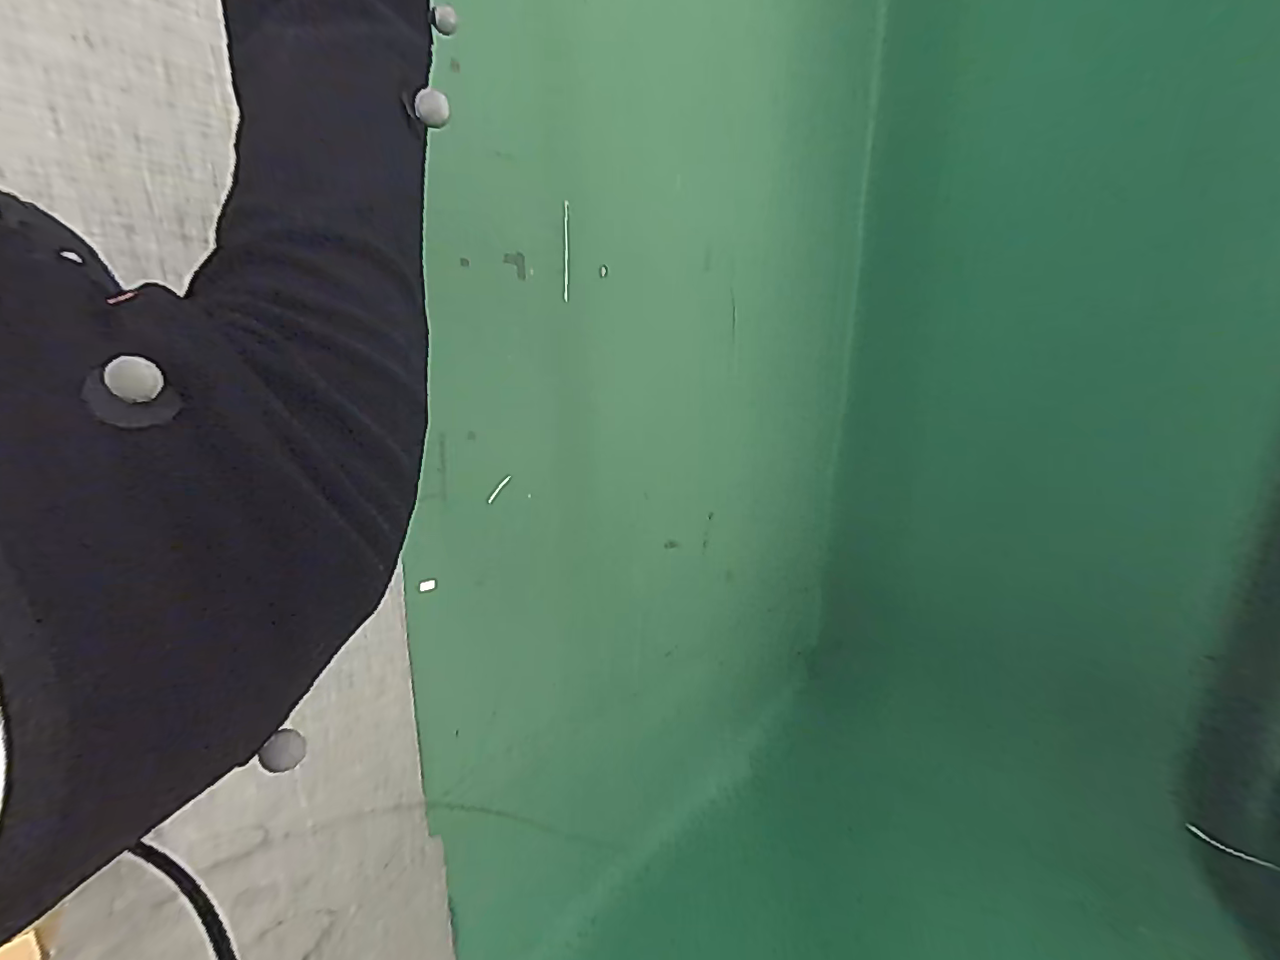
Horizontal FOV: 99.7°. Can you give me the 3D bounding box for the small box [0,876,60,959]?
[{"bbox_3d":[-1.089,0.817,0.891,0.168,0.176,0.179,-14,110,-48],"label":"small box"}]
